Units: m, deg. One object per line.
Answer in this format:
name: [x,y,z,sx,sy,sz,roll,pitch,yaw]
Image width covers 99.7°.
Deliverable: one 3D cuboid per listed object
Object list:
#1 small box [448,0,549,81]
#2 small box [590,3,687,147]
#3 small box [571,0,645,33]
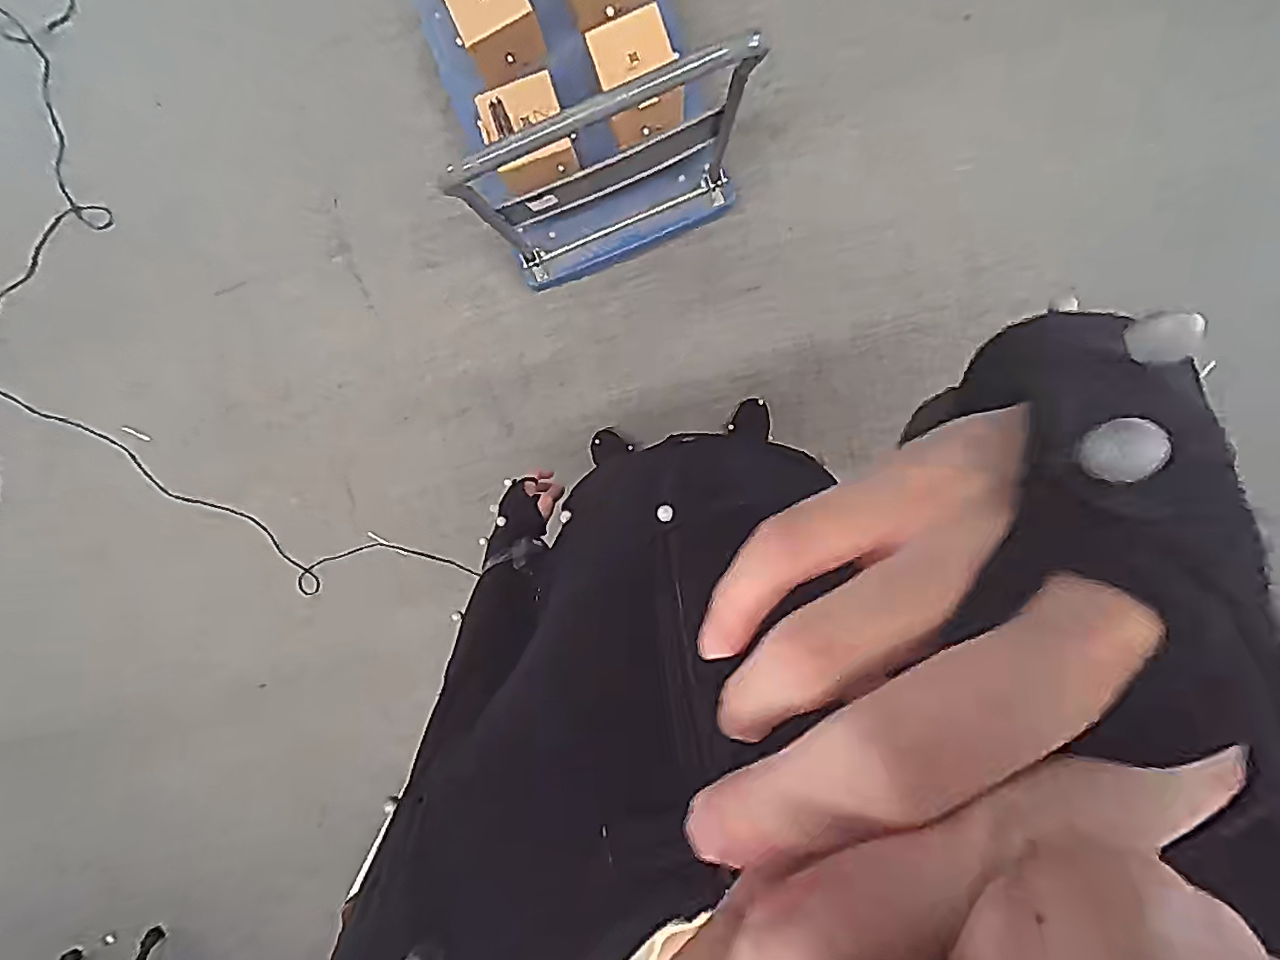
small box: [-0.326,-1.058,1.229,0.168,0.176,0.179,-23,97,6]
small box: [0.000,-0.909,1.232,0.168,0.176,0.179,-19,98,6]
small box: [-0.097,-1.160,1.197,0.168,0.176,0.179,-23,98,8]
